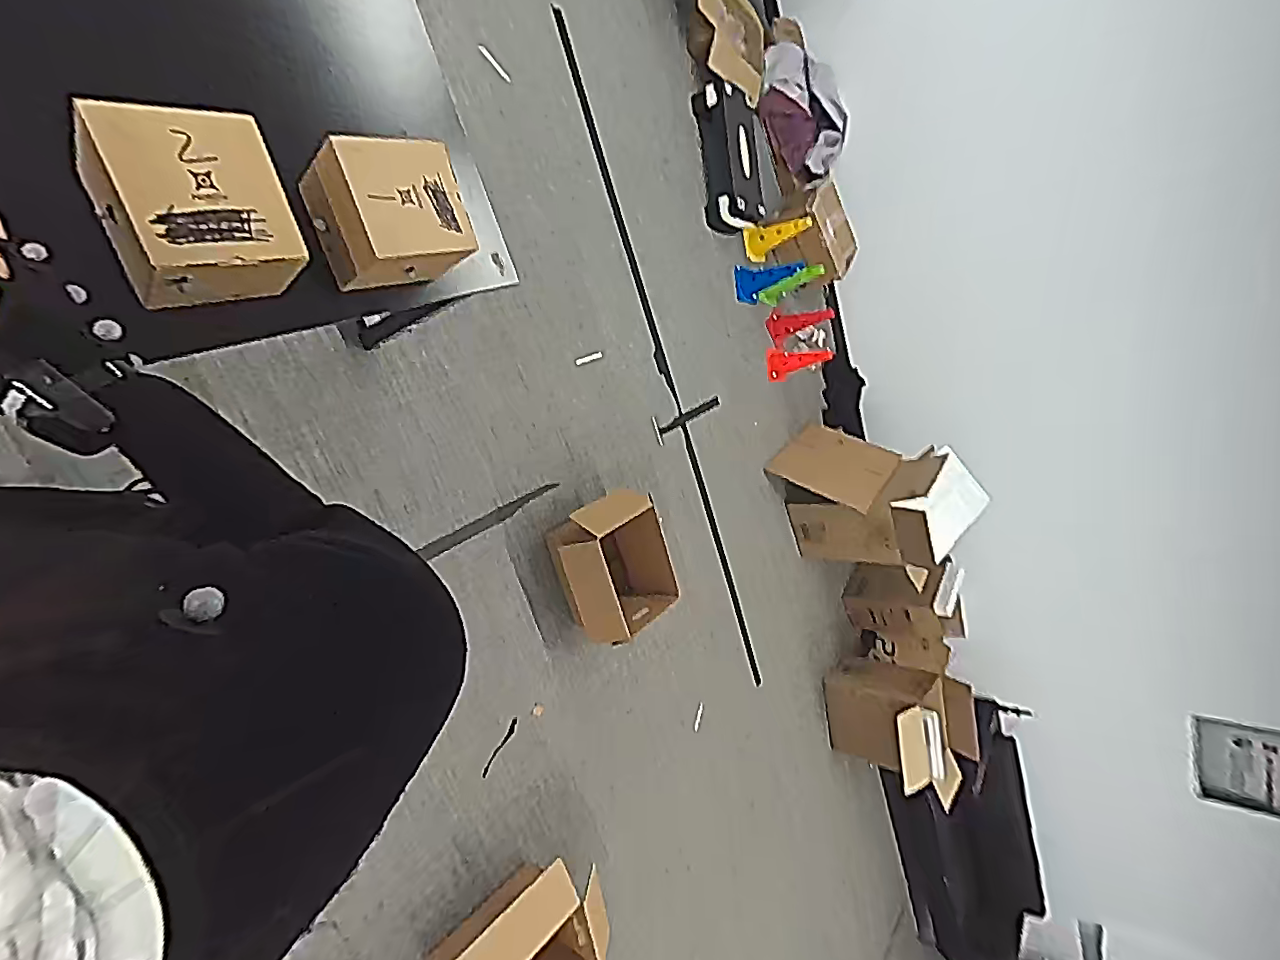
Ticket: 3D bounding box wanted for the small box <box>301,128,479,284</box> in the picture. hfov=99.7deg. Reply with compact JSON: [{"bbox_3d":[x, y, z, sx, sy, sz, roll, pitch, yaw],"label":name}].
[{"bbox_3d":[-0.394,-0.423,0.854,0.179,0.176,0.168,-30,109,-41],"label":"small box"}]
